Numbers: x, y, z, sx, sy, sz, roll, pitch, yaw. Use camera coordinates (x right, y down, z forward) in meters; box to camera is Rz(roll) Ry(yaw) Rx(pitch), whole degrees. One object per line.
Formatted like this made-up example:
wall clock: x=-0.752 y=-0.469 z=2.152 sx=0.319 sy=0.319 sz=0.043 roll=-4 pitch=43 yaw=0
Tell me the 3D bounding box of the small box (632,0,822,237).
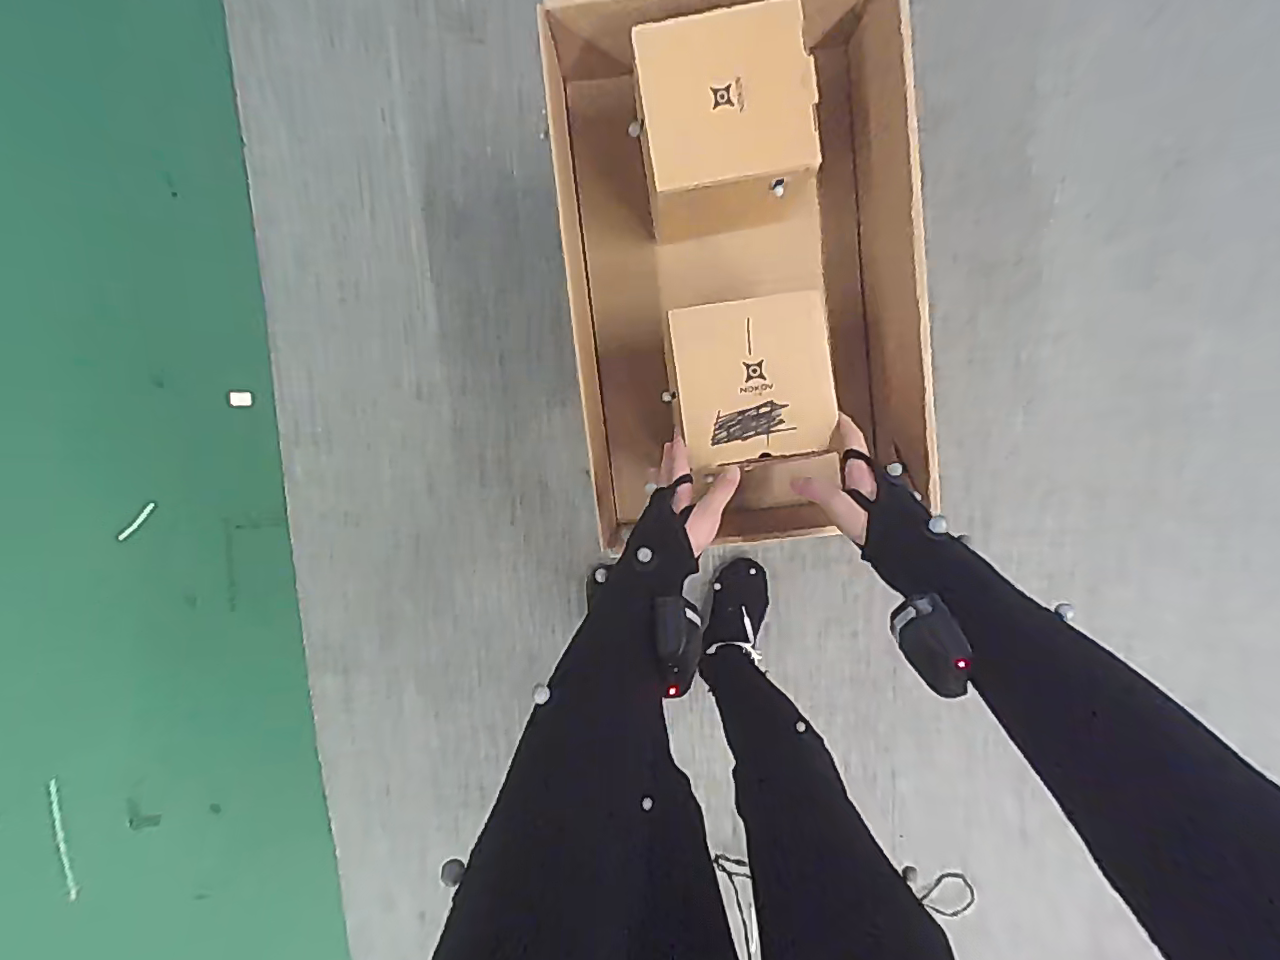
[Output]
small box: x=0.091 y=-0.403 z=0.630 sx=0.179 sy=0.176 sz=0.168 roll=-9 pitch=96 yaw=2
